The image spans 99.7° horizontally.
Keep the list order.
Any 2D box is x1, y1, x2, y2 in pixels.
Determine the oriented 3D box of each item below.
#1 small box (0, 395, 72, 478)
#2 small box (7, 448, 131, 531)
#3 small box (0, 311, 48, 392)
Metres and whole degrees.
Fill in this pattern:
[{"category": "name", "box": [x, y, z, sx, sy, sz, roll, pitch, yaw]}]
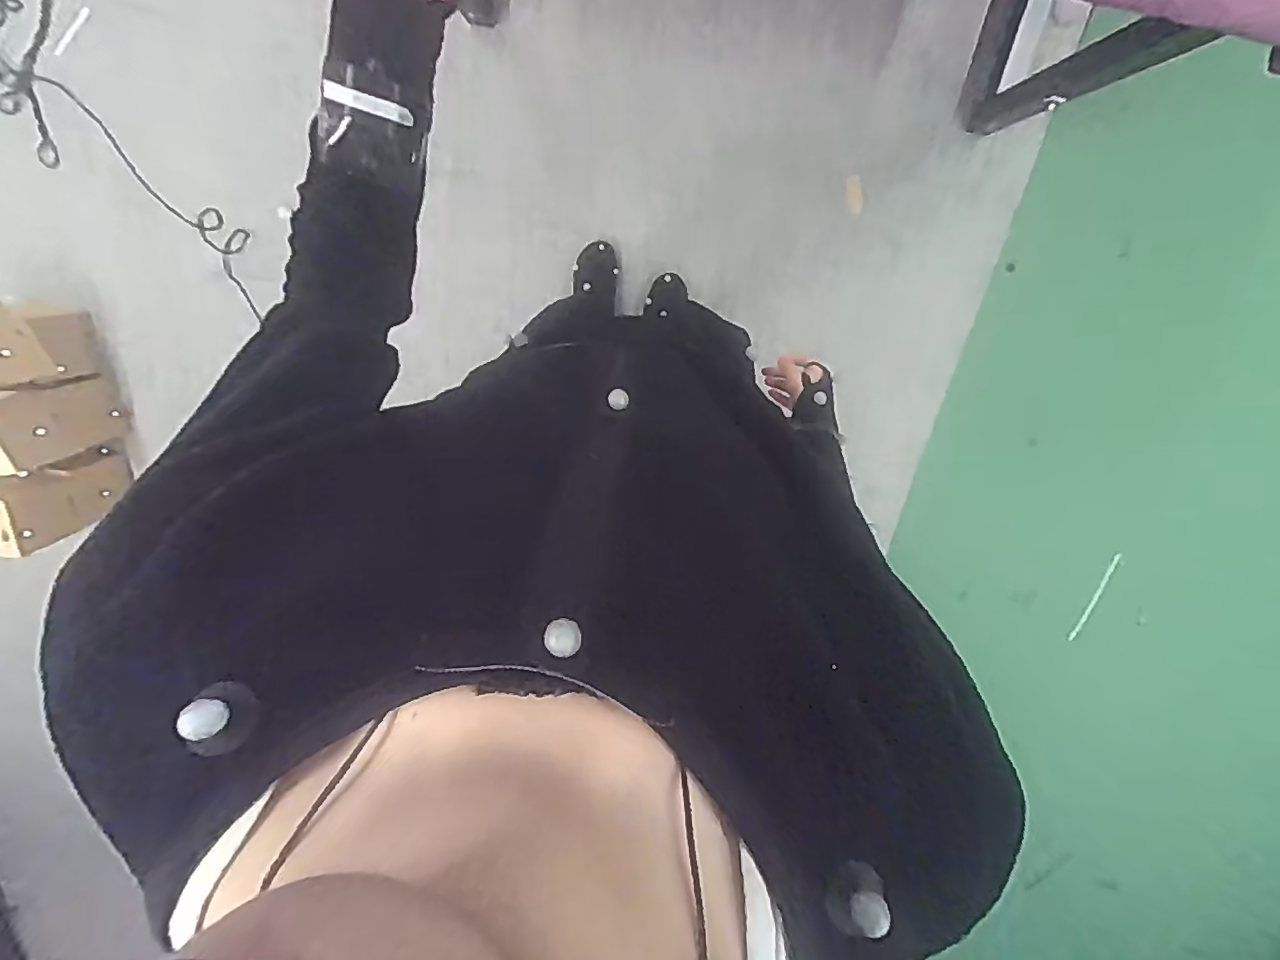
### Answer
[{"category": "small box", "box": [-1.569, -0.104, 1.326, 0.179, 0.176, 0.168, -7, 111, 6]}, {"category": "small box", "box": [-1.628, 0.022, 1.552, 0.168, 0.176, 0.179, 9, 113, 0]}, {"category": "small box", "box": [-1.552, -0.285, 1.250, 0.179, 0.176, 0.168, -14, 110, 9]}]
